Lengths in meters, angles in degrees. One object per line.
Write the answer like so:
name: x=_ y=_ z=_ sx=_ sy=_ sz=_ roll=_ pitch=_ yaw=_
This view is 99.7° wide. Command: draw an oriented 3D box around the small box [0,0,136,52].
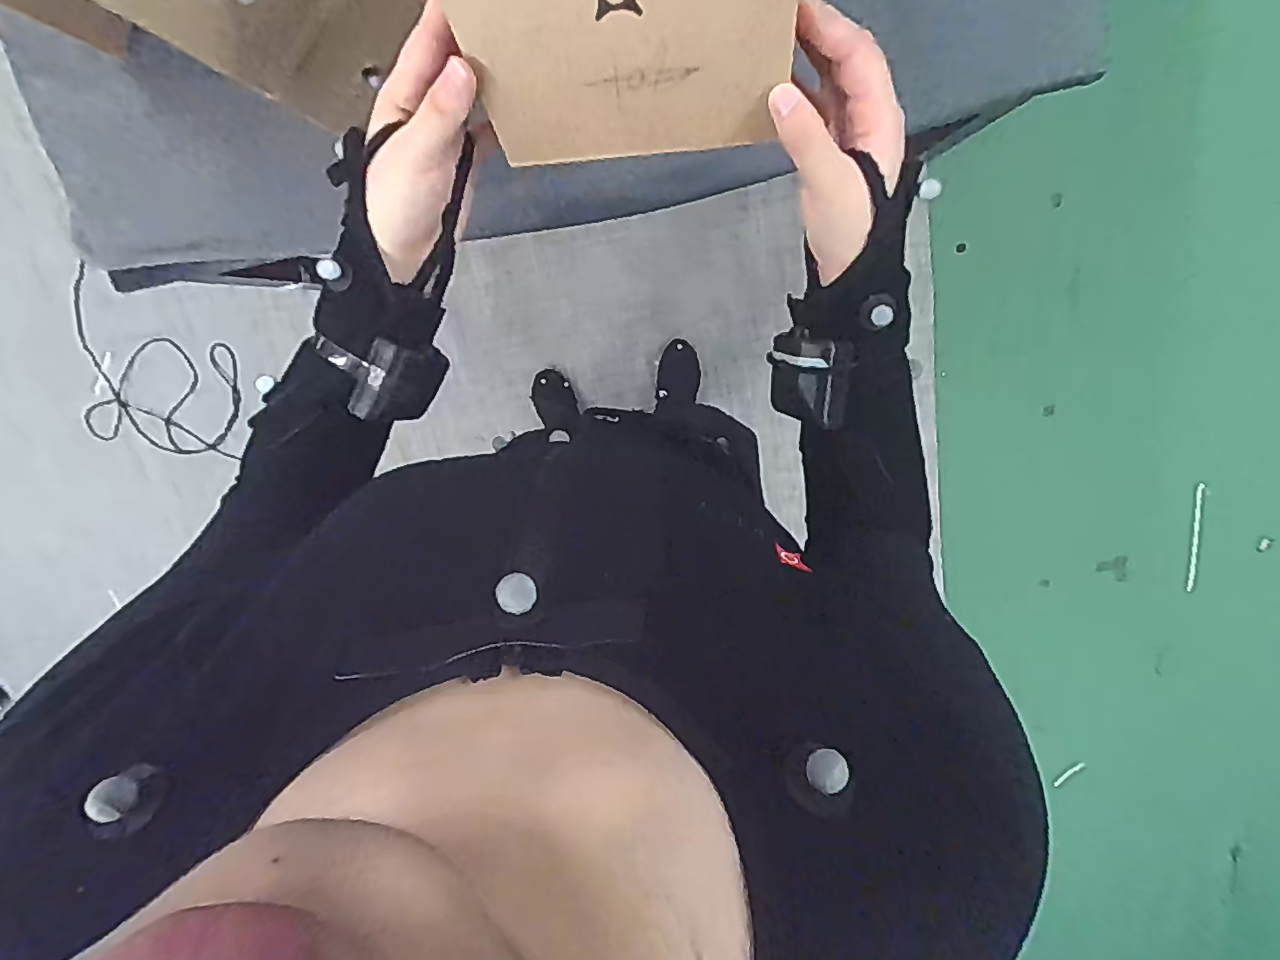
small box: x=-0.633 y=-0.570 z=0.521 sx=0.179 sy=0.176 sz=0.168 roll=30 pitch=106 yaw=-6

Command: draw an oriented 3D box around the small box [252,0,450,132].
small box: x=-0.317 y=-0.481 z=0.529 sx=0.168 sy=0.176 sz=0.179 roll=-33 pitch=102 yaw=11

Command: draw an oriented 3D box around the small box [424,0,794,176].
small box: x=-0.011 y=-0.289 z=0.262 sx=0.168 sy=0.179 sz=0.176 roll=1 pitch=72 yaw=10

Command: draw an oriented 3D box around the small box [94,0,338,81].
small box: x=-0.331 y=-0.427 z=0.376 sx=0.179 sy=0.176 sz=0.168 roll=44 pitch=104 yaw=-9
